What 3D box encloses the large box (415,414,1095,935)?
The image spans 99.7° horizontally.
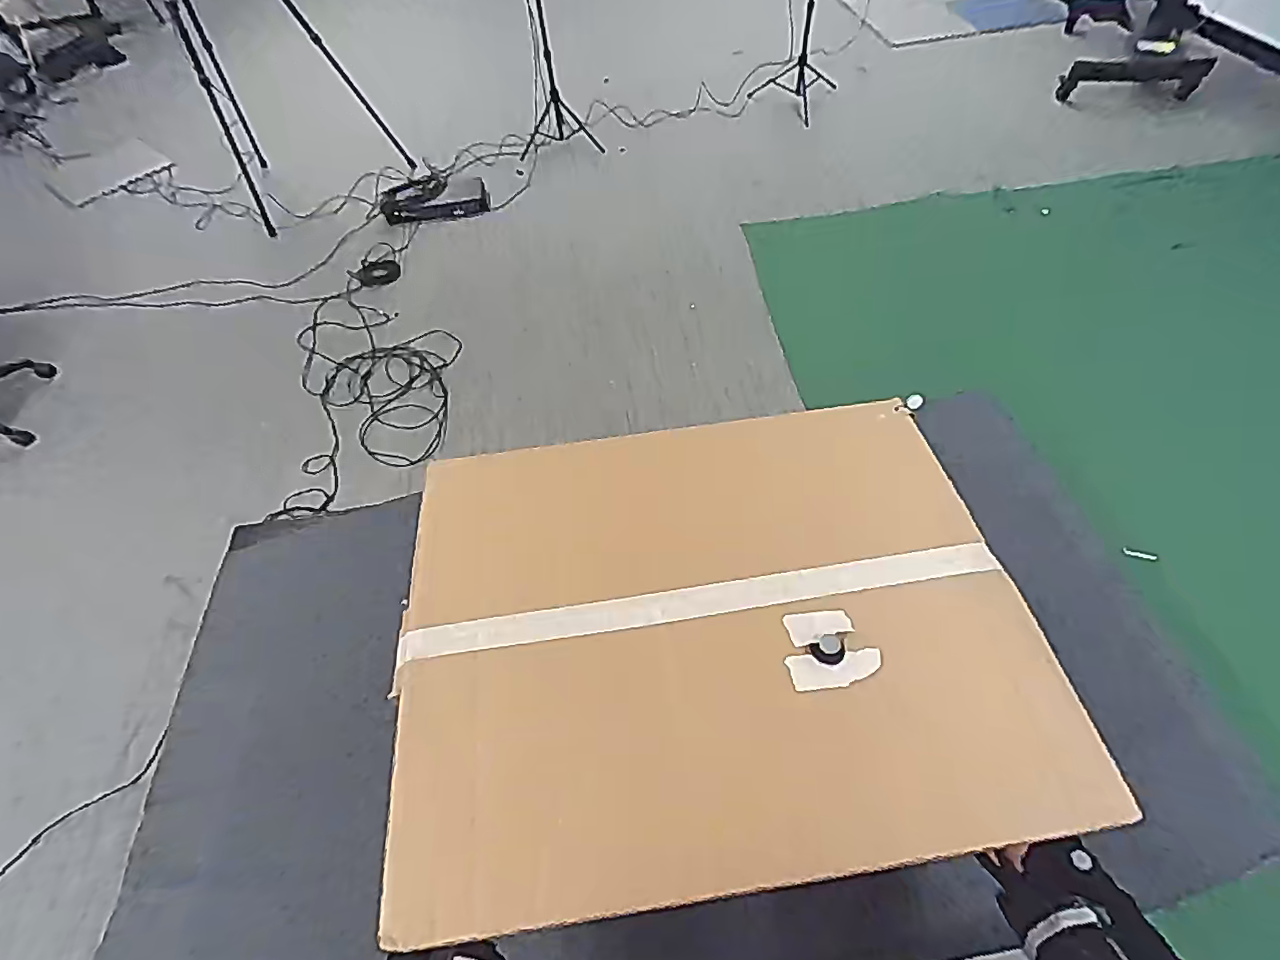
[{"bbox_3d":[0.054,0.178,0.508,0.408,0.320,0.320,-8,55,-3],"label":"large box"}]
